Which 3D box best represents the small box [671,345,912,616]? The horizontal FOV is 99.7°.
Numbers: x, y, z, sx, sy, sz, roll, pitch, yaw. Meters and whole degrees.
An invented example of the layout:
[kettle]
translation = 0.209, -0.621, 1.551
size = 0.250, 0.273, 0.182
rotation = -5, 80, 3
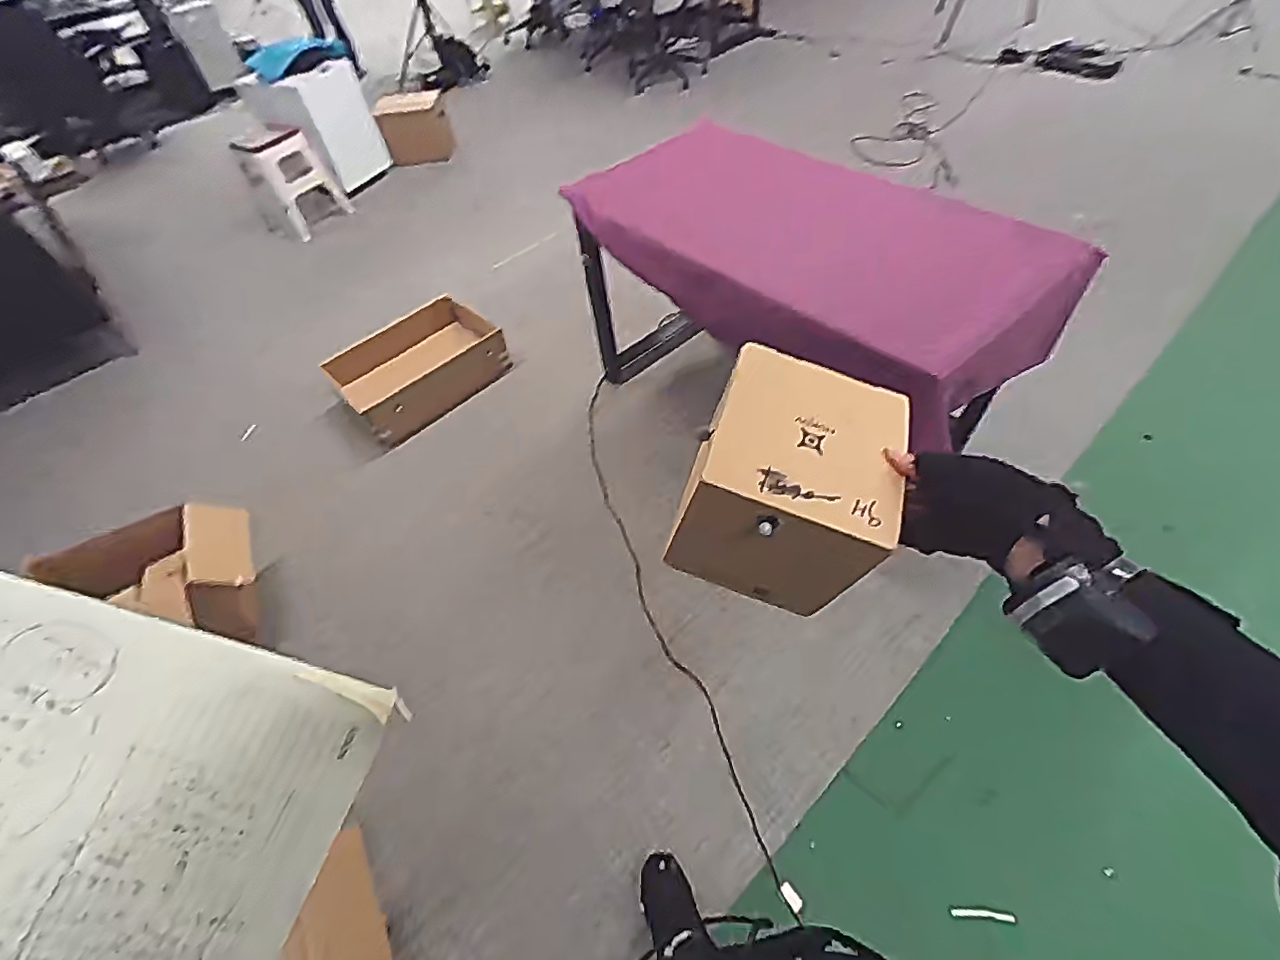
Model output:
[small box]
translation = 0.142, 0.006, 0.537
size = 0.168, 0.176, 0.179
rotation = 21, 56, 4
